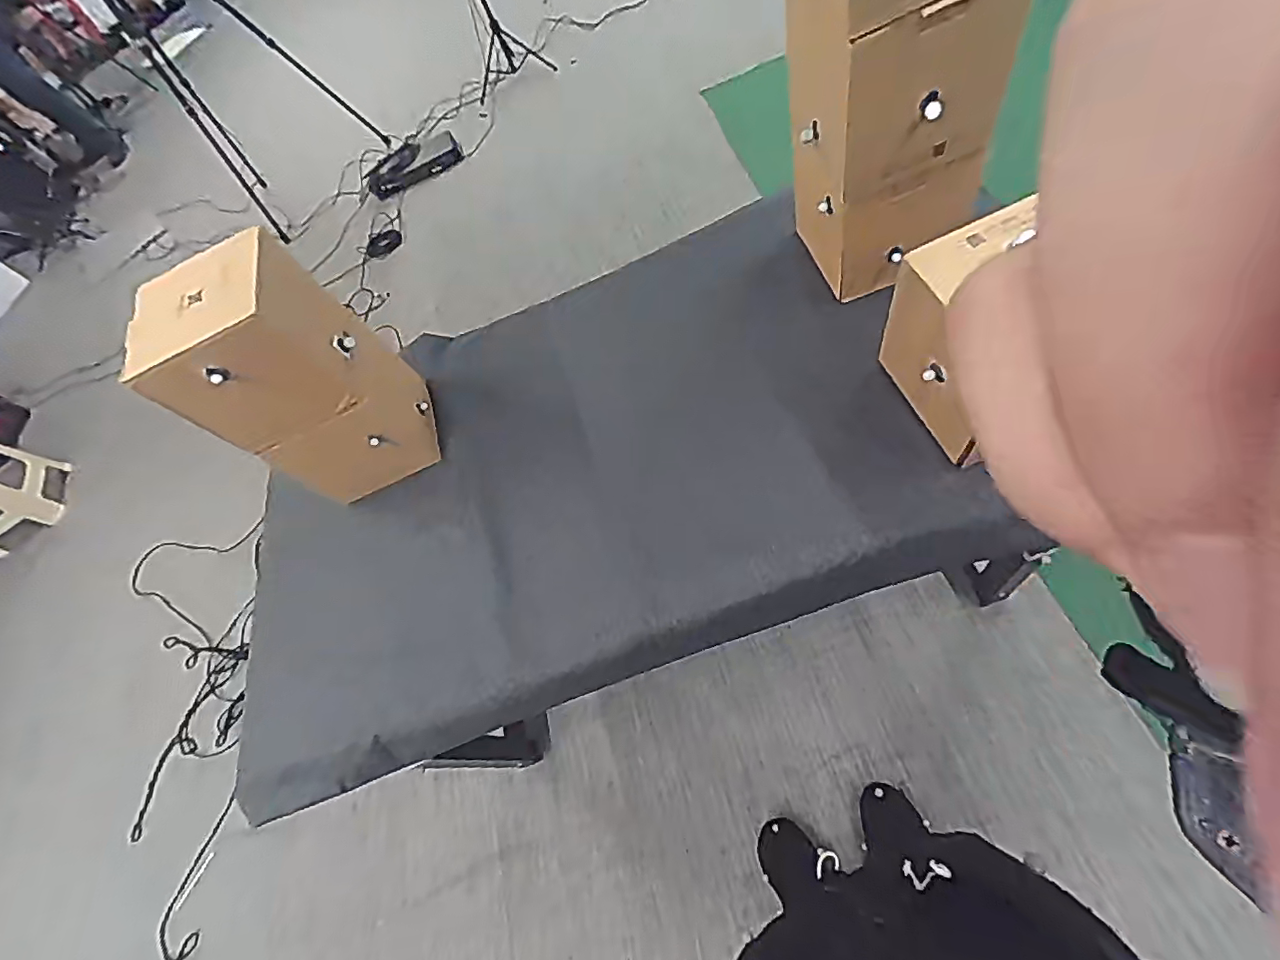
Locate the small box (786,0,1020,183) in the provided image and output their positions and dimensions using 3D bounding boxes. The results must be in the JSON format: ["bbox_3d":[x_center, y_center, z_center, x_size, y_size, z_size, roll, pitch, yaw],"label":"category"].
[{"bbox_3d":[0.265,-0.450,0.571,0.168,0.176,0.179,-19,61,8],"label":"small box"}]

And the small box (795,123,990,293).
[{"bbox_3d":[0.313,-0.386,0.714,0.168,0.176,0.179,-20,61,8],"label":"small box"}]

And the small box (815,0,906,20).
[{"bbox_3d":[0.212,-0.518,0.430,0.168,0.176,0.179,-21,60,7],"label":"small box"}]

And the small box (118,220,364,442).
[{"bbox_3d":[-0.481,-0.174,0.676,0.179,0.176,0.168,-24,61,3],"label":"small box"}]

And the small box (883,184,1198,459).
[{"bbox_3d":[0.374,-0.154,0.554,0.168,0.179,0.176,-24,62,5],"label":"small box"}]
